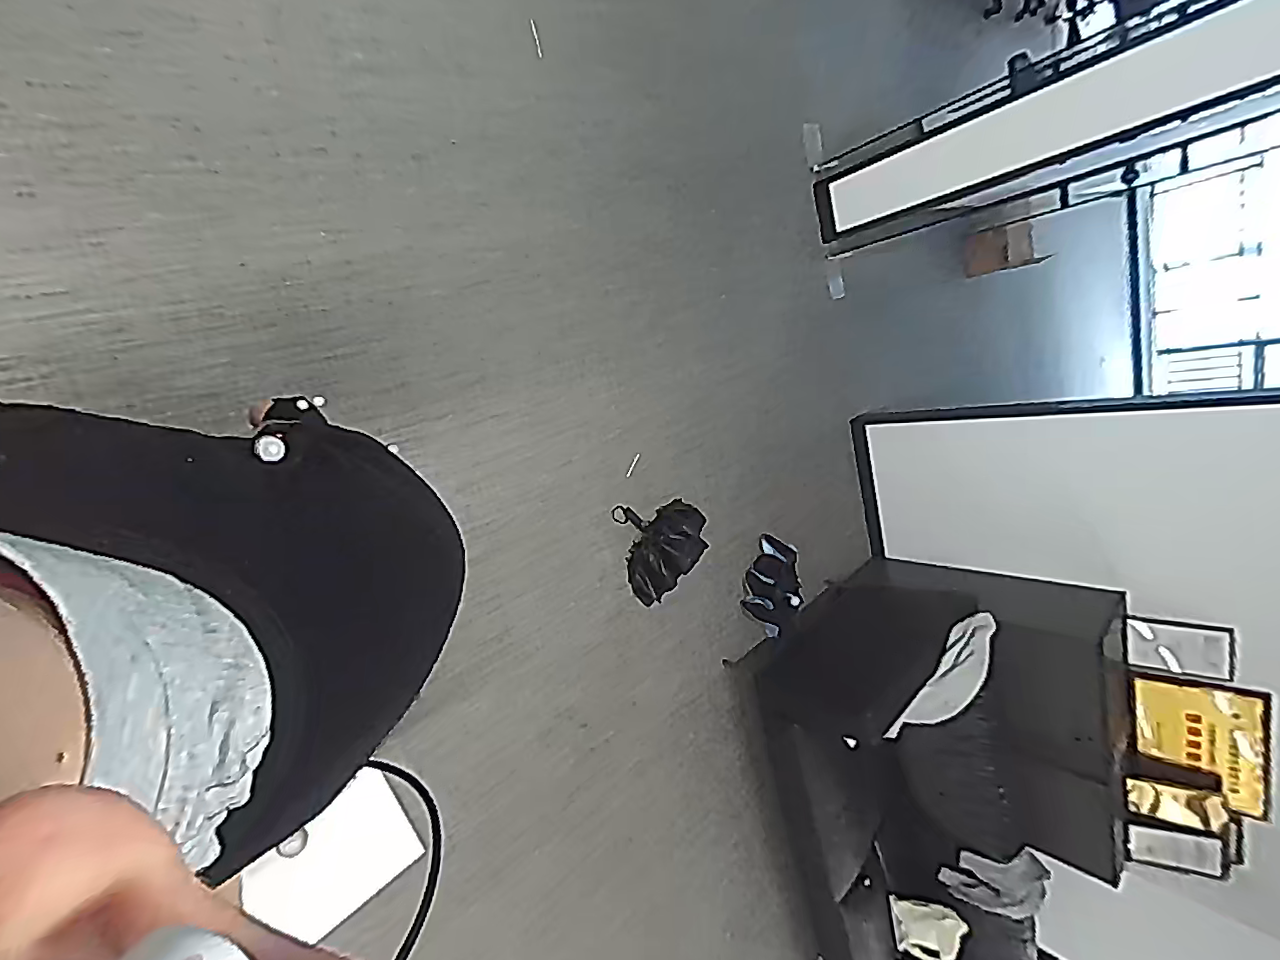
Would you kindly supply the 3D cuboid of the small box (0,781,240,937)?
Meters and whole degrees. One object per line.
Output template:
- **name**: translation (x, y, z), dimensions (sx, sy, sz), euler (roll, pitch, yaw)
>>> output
- **small box**: translation (-0.647, 0.522, 0.684), dimensions (0.168, 0.176, 0.179), euler (-30, 113, -33)

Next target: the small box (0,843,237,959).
- **small box**: translation (-0.543, 0.533, 0.557), dimensions (0.168, 0.176, 0.179), euler (-29, 110, -34)
